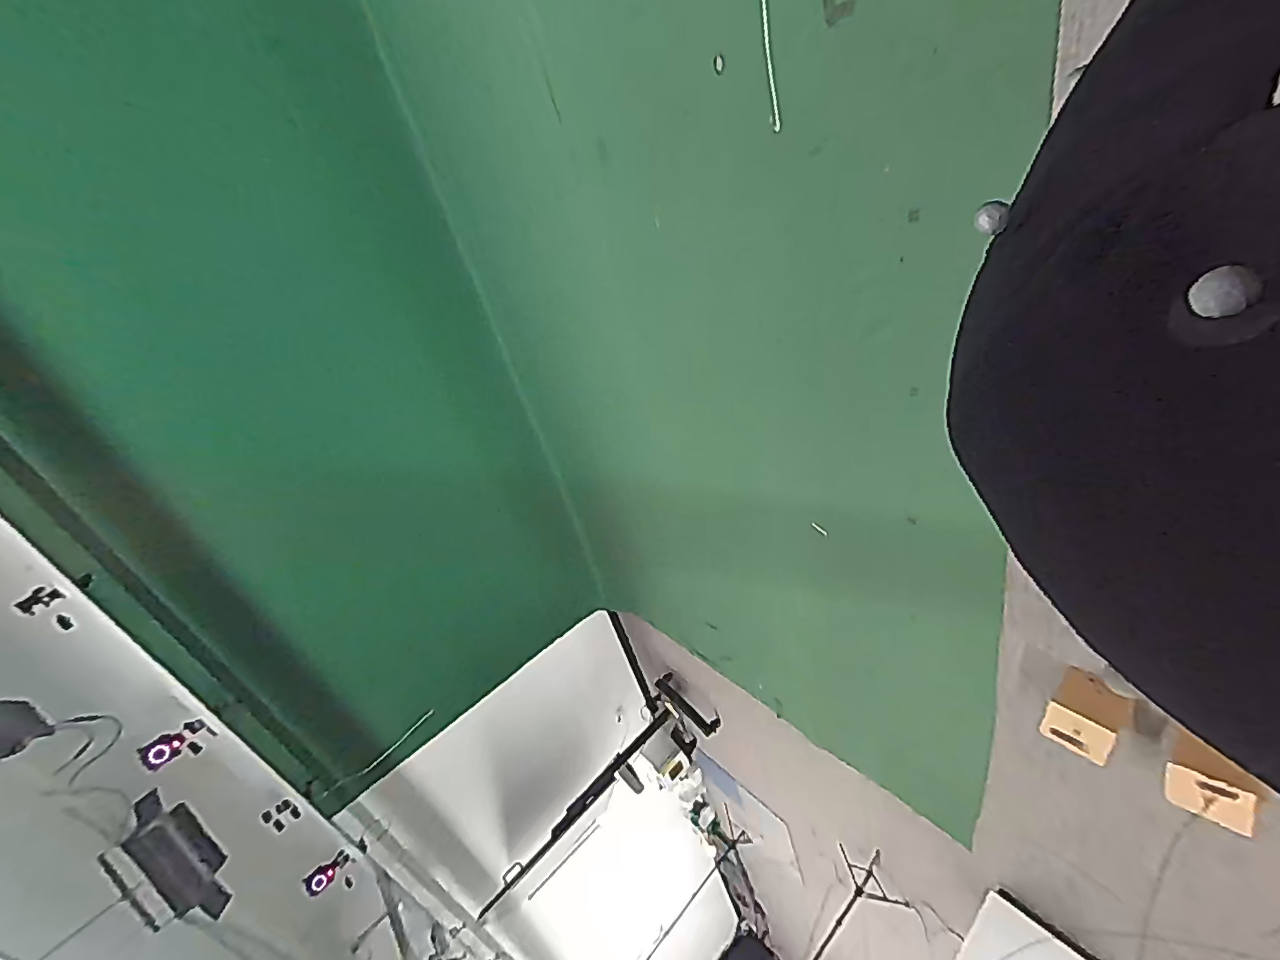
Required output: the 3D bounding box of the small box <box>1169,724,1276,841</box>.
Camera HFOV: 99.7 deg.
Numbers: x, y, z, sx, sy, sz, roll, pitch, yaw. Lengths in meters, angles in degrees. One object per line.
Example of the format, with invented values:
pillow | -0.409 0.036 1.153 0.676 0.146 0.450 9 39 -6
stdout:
small box | 1.551 0.796 1.442 0.168 0.176 0.179 13 131 54
